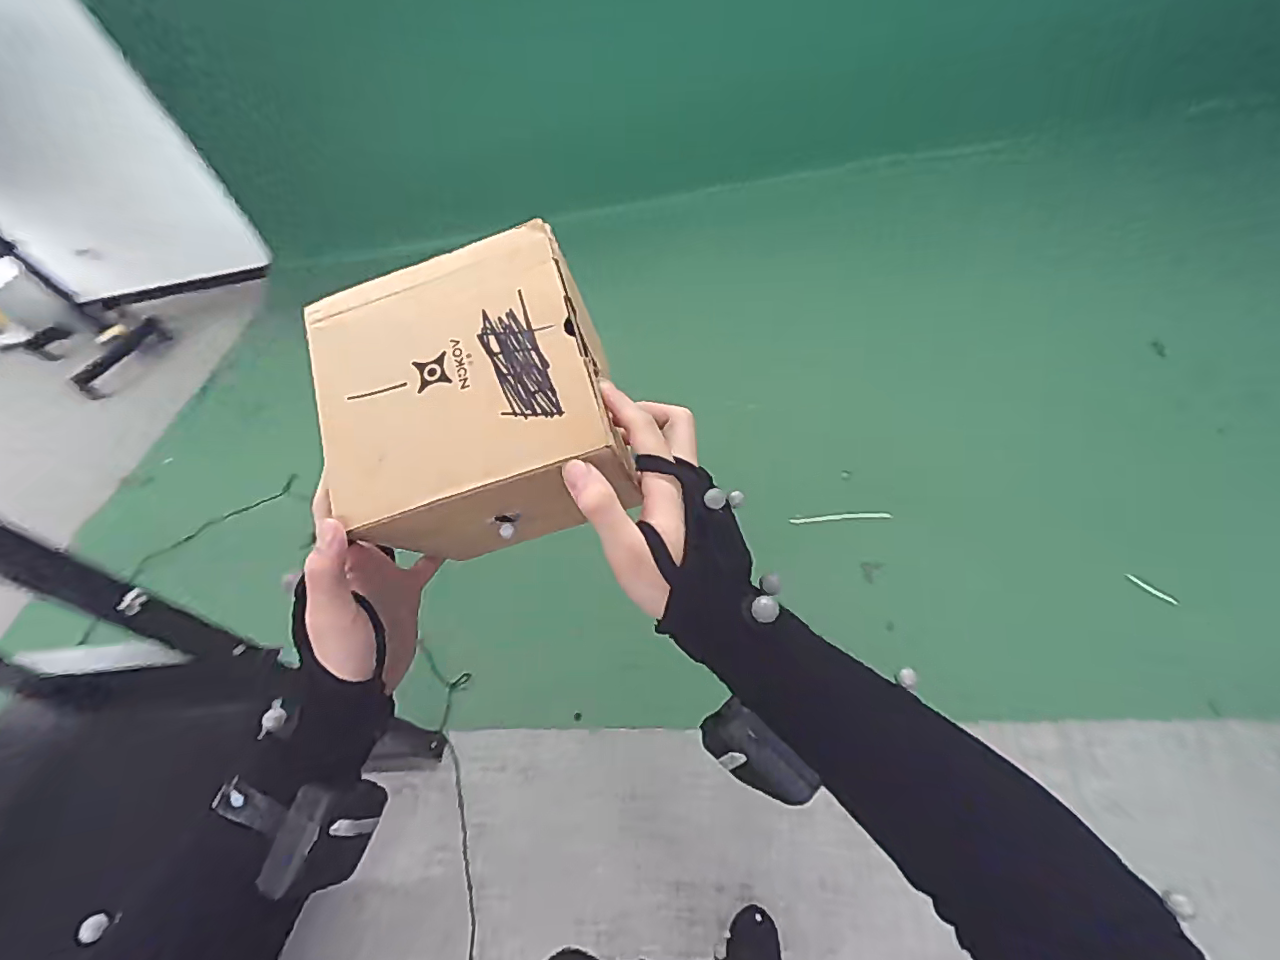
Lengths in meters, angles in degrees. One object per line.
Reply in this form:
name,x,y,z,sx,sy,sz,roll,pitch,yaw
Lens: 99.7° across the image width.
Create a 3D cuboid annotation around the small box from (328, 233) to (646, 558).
small box,-0.100,-0.046,0.420,0.179,0.176,0.168,-17,73,5
